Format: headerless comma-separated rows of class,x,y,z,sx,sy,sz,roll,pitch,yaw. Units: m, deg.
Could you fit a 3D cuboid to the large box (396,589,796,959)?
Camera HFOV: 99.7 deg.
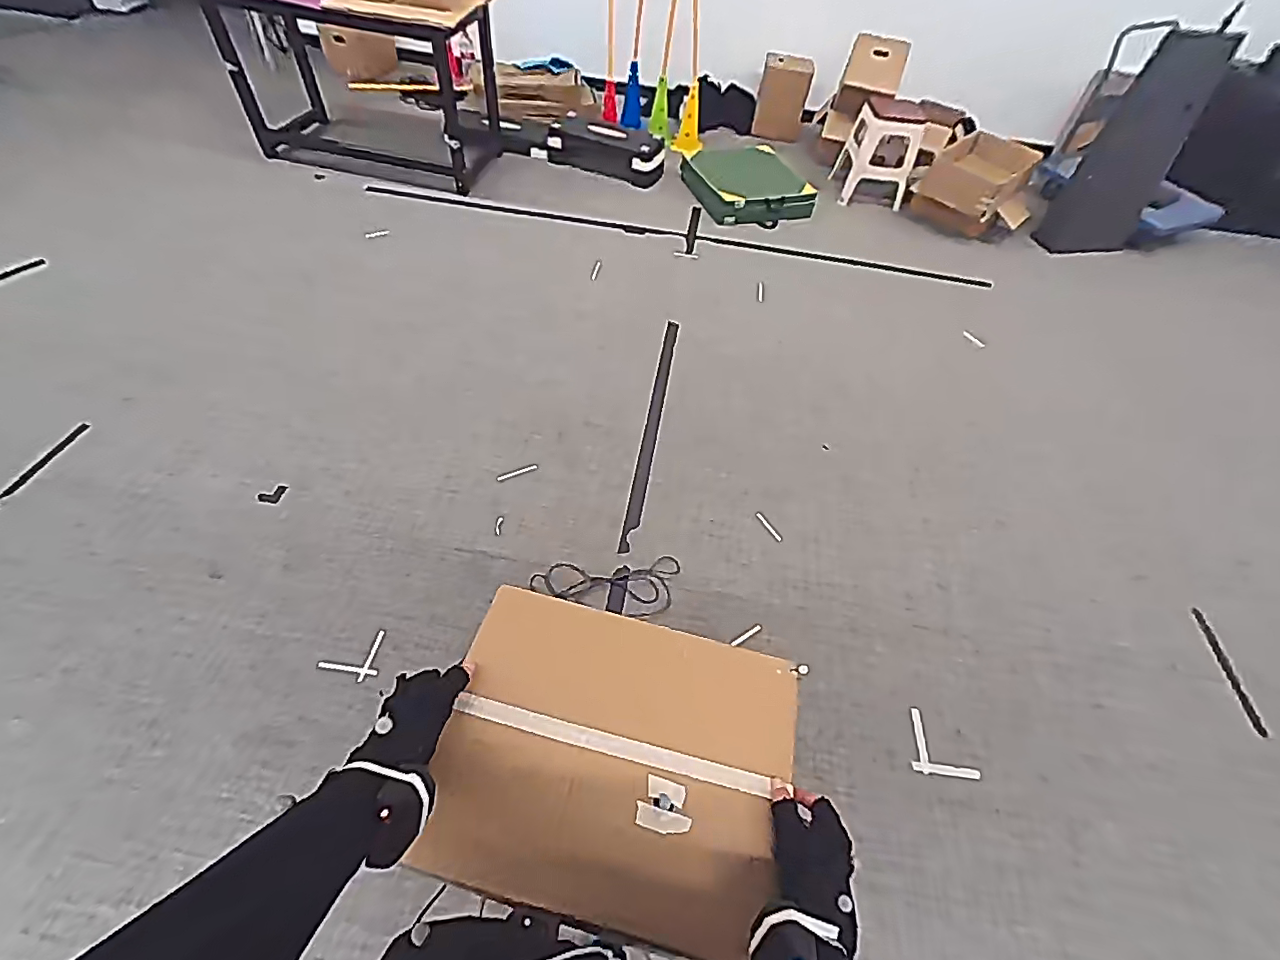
large box,-0.038,0.399,0.737,0.408,0.320,0.320,14,50,5
